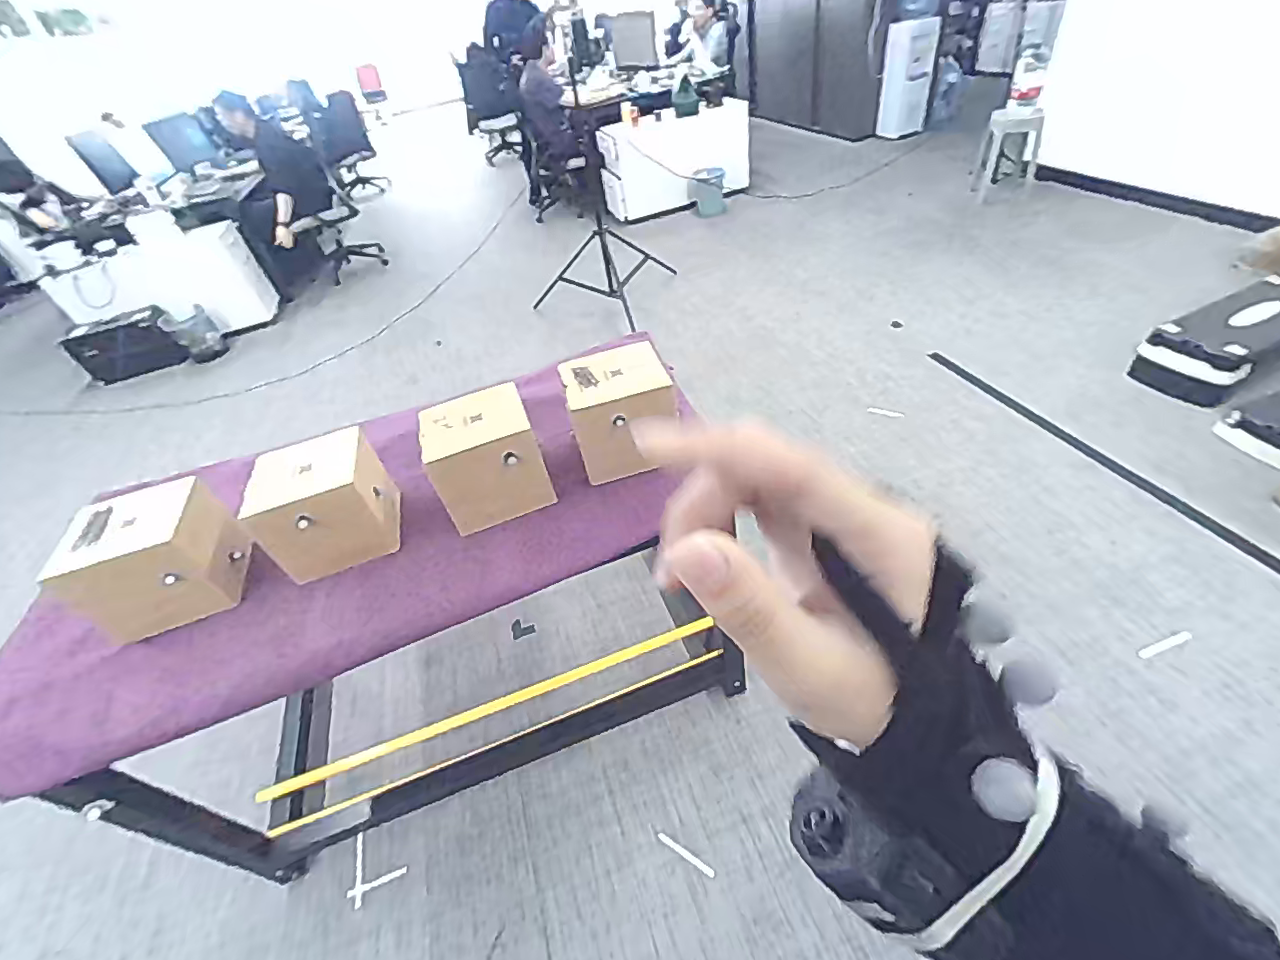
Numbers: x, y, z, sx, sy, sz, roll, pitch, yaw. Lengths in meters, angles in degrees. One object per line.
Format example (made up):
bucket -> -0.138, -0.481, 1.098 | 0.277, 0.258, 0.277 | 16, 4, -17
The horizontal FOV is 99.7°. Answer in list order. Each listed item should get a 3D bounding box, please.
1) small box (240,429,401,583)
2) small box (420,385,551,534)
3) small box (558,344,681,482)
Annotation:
small box -> -0.530, 0.046, 0.929 | 0.179, 0.176, 0.168 | -20, 43, -8
small box -> -0.265, -0.036, 0.949 | 0.179, 0.176, 0.168 | -20, 41, -8
small box -> -0.036, -0.119, 0.985 | 0.179, 0.176, 0.168 | -16, 41, -4
